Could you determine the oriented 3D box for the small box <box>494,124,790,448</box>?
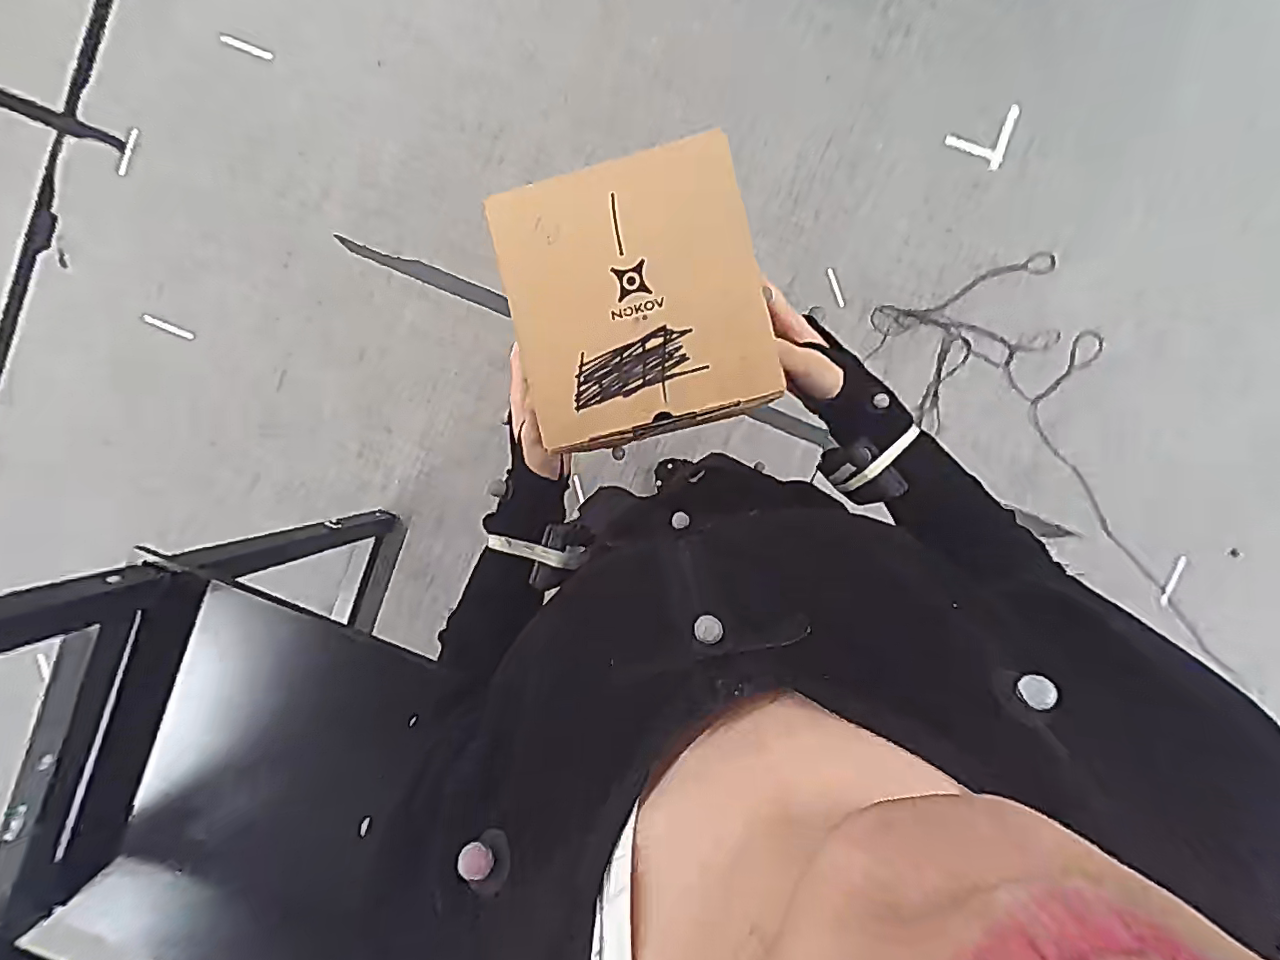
[{"bbox_3d":[0.008,-0.128,0.429,0.168,0.176,0.179,-13,92,5],"label":"small box"}]
